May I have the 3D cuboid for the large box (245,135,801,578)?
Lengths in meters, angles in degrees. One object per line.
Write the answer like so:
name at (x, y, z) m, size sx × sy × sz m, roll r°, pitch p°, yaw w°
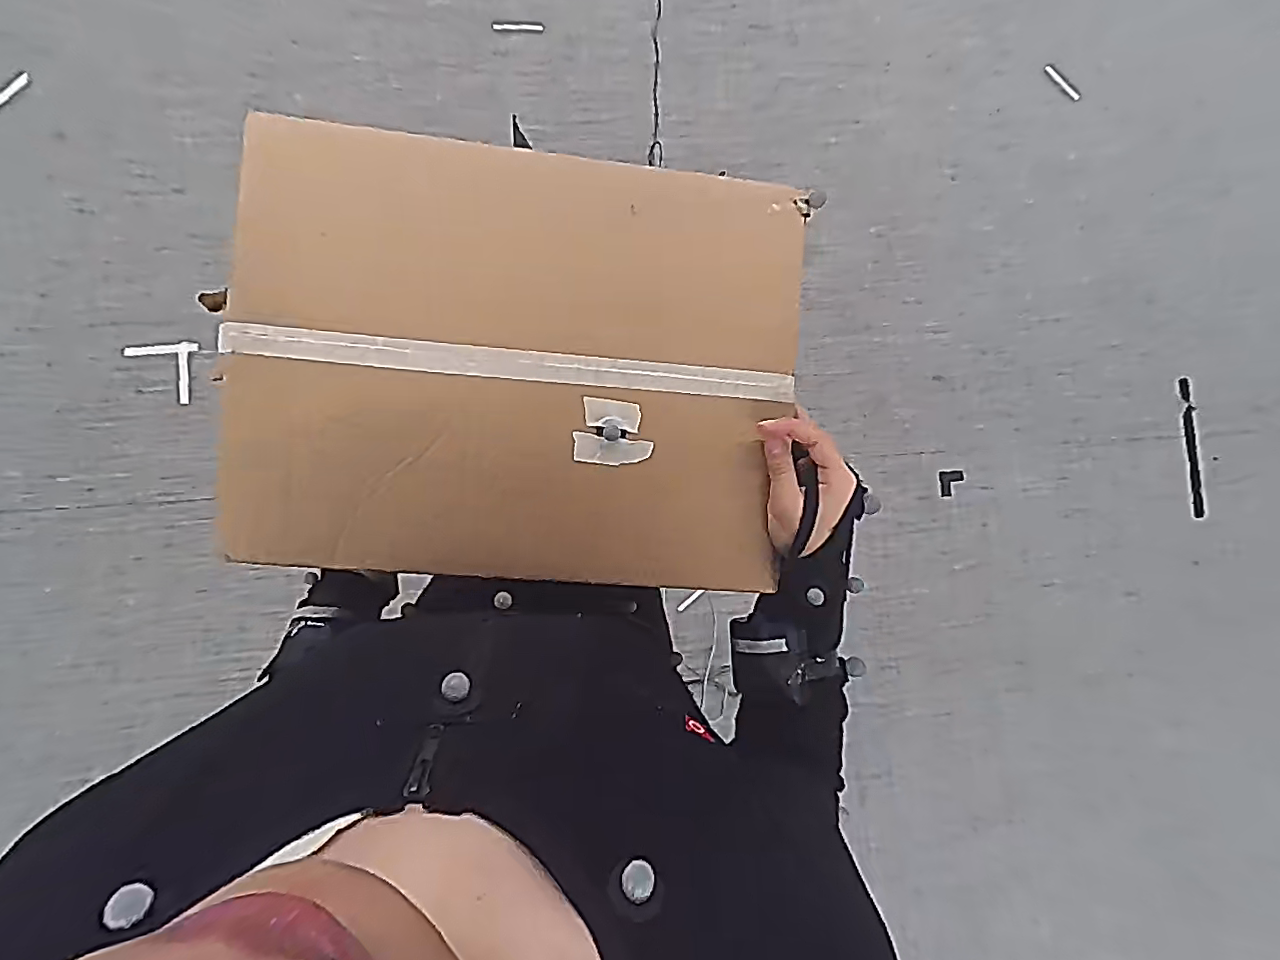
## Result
large box at (-0.095, -0.085, 0.553) m, size 0.408 × 0.320 × 0.320 m, roll 4°, pitch 91°, yaw -7°
